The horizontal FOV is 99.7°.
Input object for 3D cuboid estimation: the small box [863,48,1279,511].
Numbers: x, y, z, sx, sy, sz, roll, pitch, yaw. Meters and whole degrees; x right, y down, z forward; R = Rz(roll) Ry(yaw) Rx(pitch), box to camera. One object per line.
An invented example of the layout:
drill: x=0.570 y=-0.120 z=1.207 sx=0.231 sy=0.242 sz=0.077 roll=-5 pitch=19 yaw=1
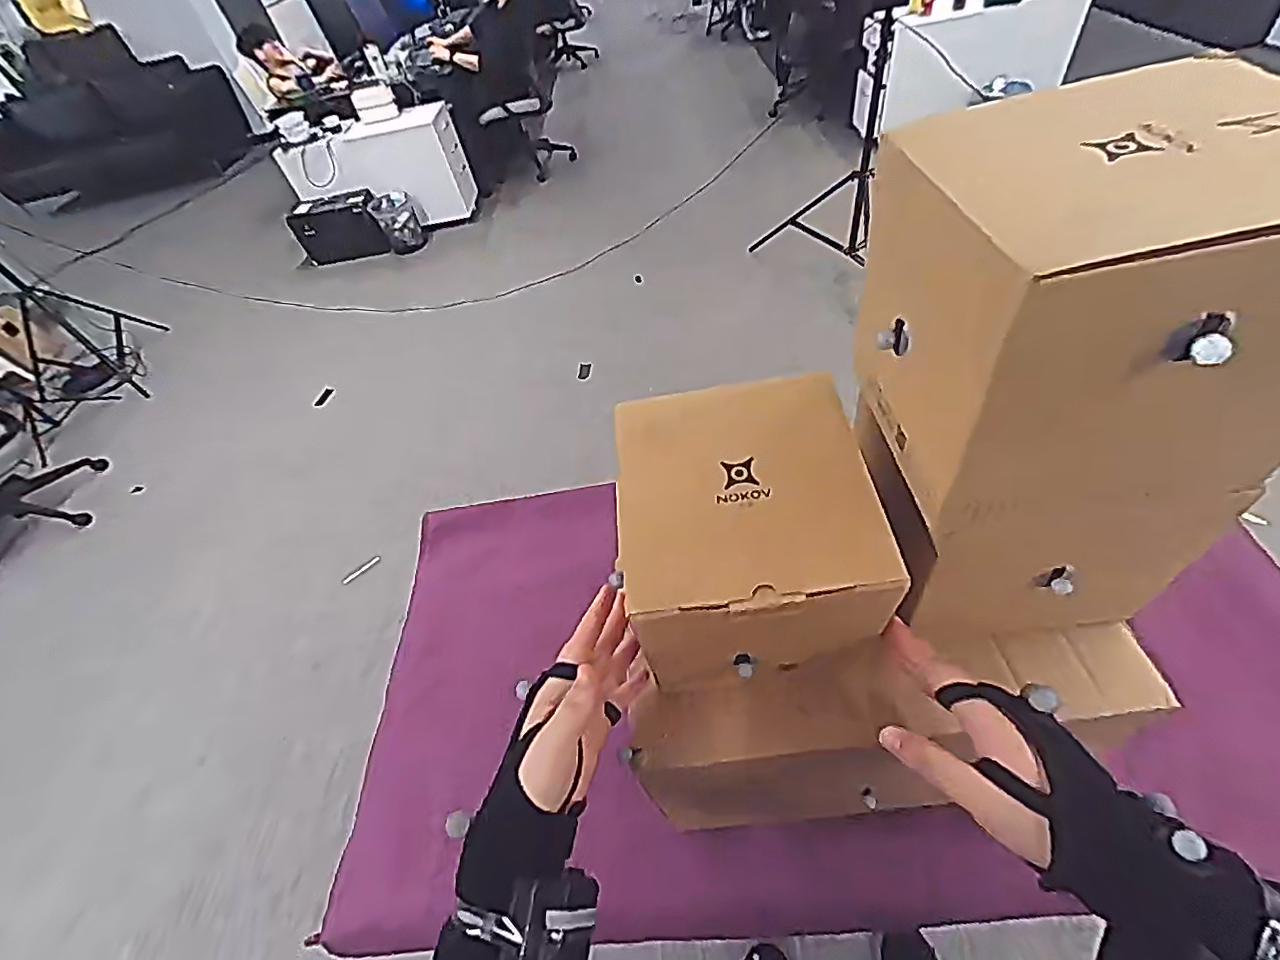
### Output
small box: x=0.236 y=-0.099 z=0.298 sx=0.179 sy=0.176 sz=0.168 roll=-8 pitch=49 yaw=6
